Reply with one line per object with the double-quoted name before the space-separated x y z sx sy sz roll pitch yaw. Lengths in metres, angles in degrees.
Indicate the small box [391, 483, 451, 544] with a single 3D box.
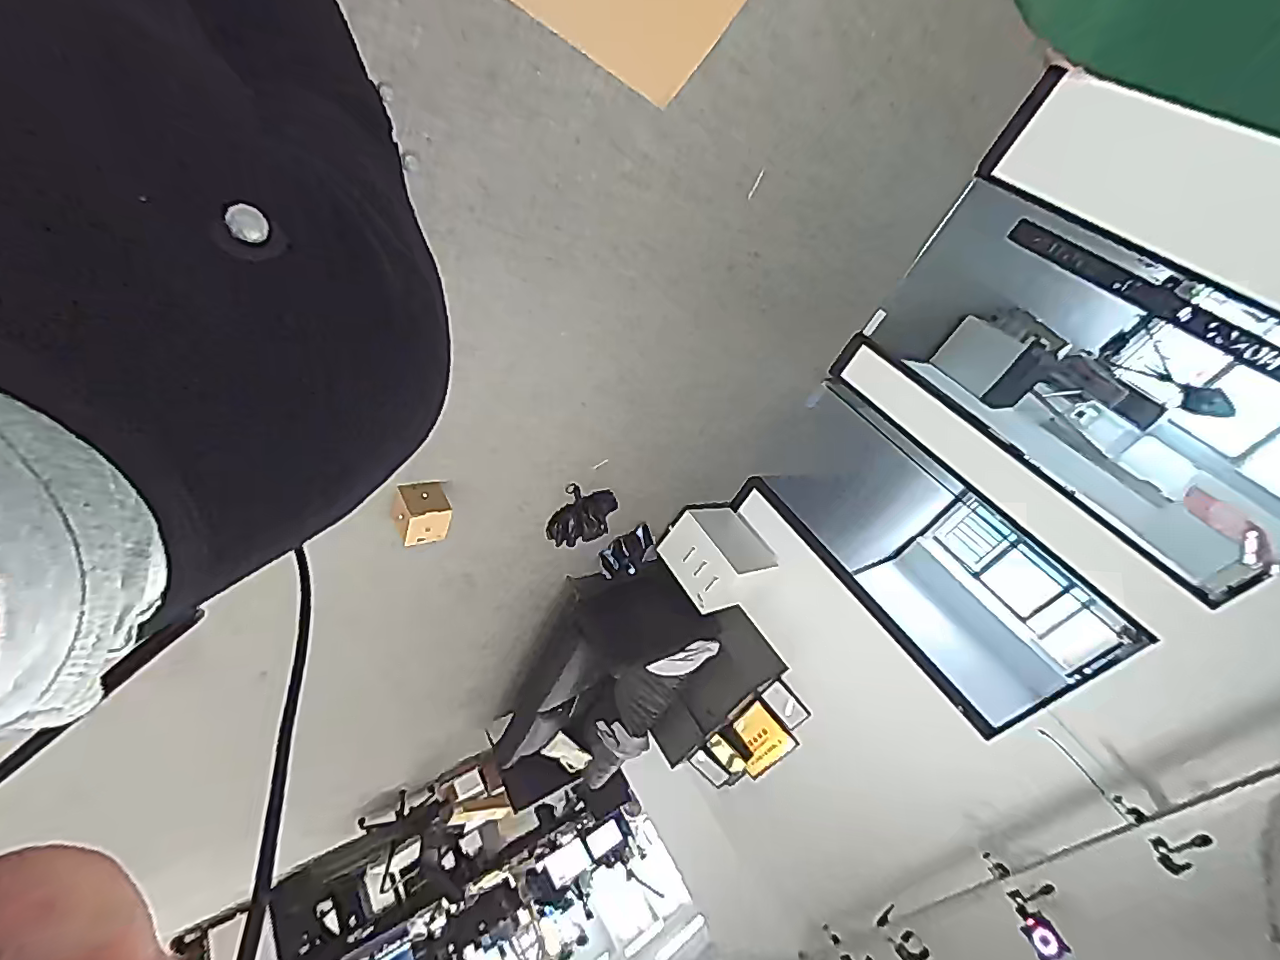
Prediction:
"small box" -0.885 0.126 2.172 0.168 0.176 0.179 -10 140 -41
